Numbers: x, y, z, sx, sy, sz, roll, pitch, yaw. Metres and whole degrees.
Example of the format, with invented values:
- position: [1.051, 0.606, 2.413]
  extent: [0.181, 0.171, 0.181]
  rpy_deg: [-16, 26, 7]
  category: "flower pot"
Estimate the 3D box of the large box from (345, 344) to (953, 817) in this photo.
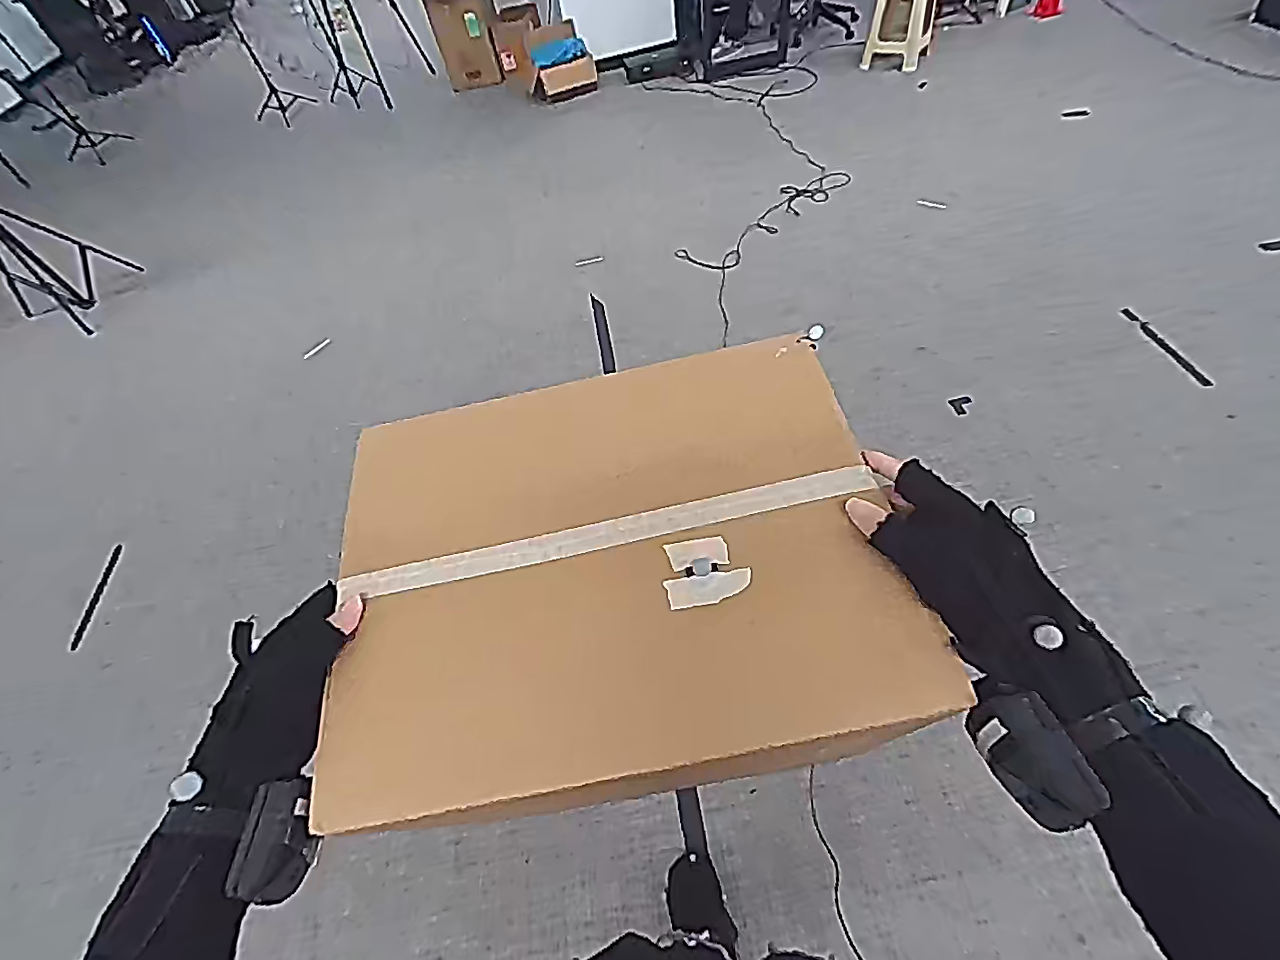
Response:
- position: [-0.003, 0.120, 0.543]
  extent: [0.408, 0.320, 0.320]
  rpy_deg: [-12, 59, 1]
  category: "large box"
